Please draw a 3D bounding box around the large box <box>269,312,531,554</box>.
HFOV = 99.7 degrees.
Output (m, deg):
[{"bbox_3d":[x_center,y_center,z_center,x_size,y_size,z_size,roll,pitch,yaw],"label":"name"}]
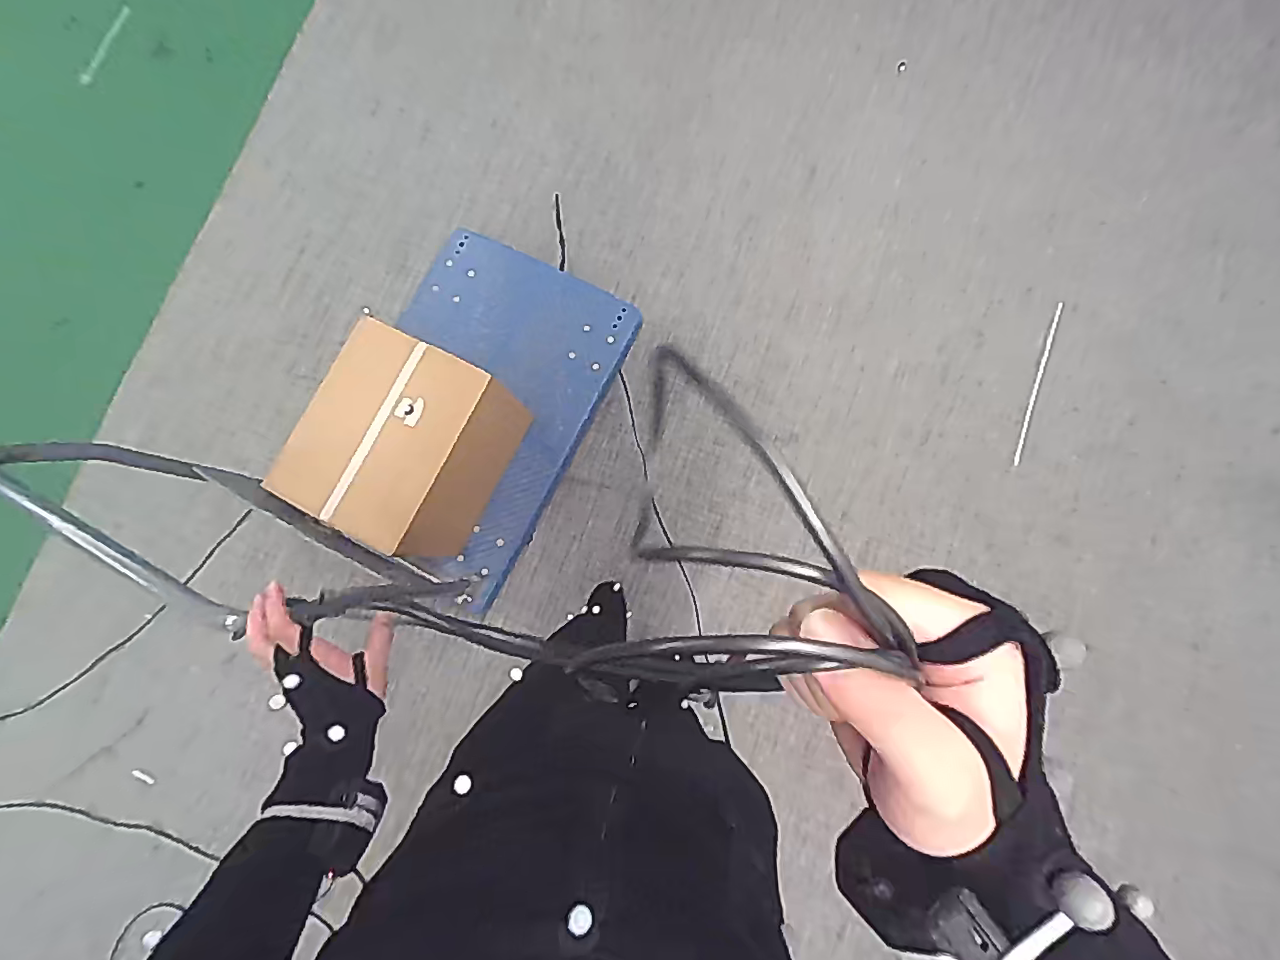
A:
[{"bbox_3d":[-0.502,-0.081,1.209,0.320,0.320,0.408,27,84,7],"label":"large box"}]
